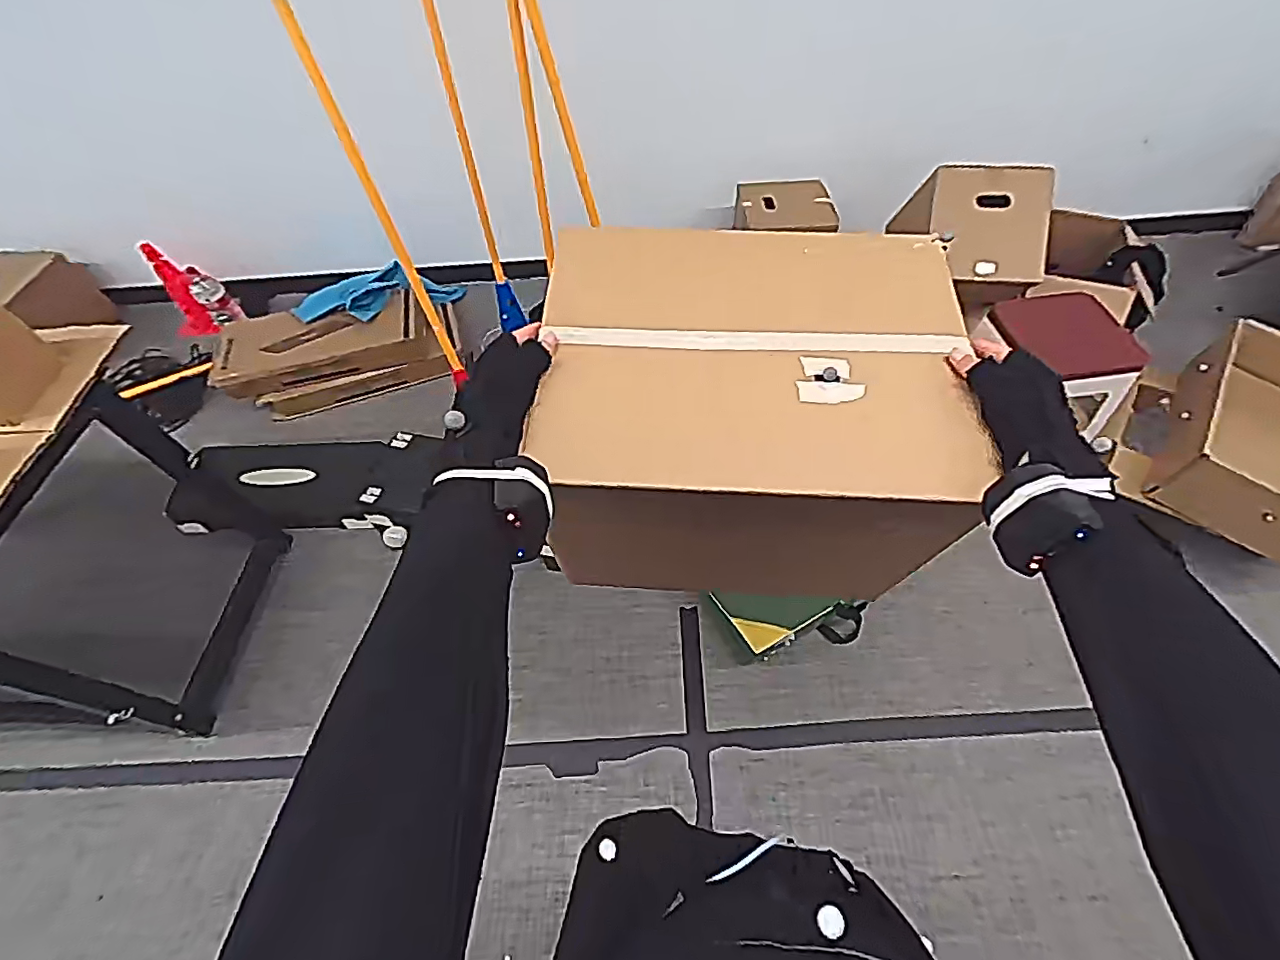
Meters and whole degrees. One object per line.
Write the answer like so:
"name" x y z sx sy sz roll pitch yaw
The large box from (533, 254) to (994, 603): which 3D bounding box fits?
"large box" 0.111 -0.045 0.662 0.408 0.320 0.320 3 63 3
